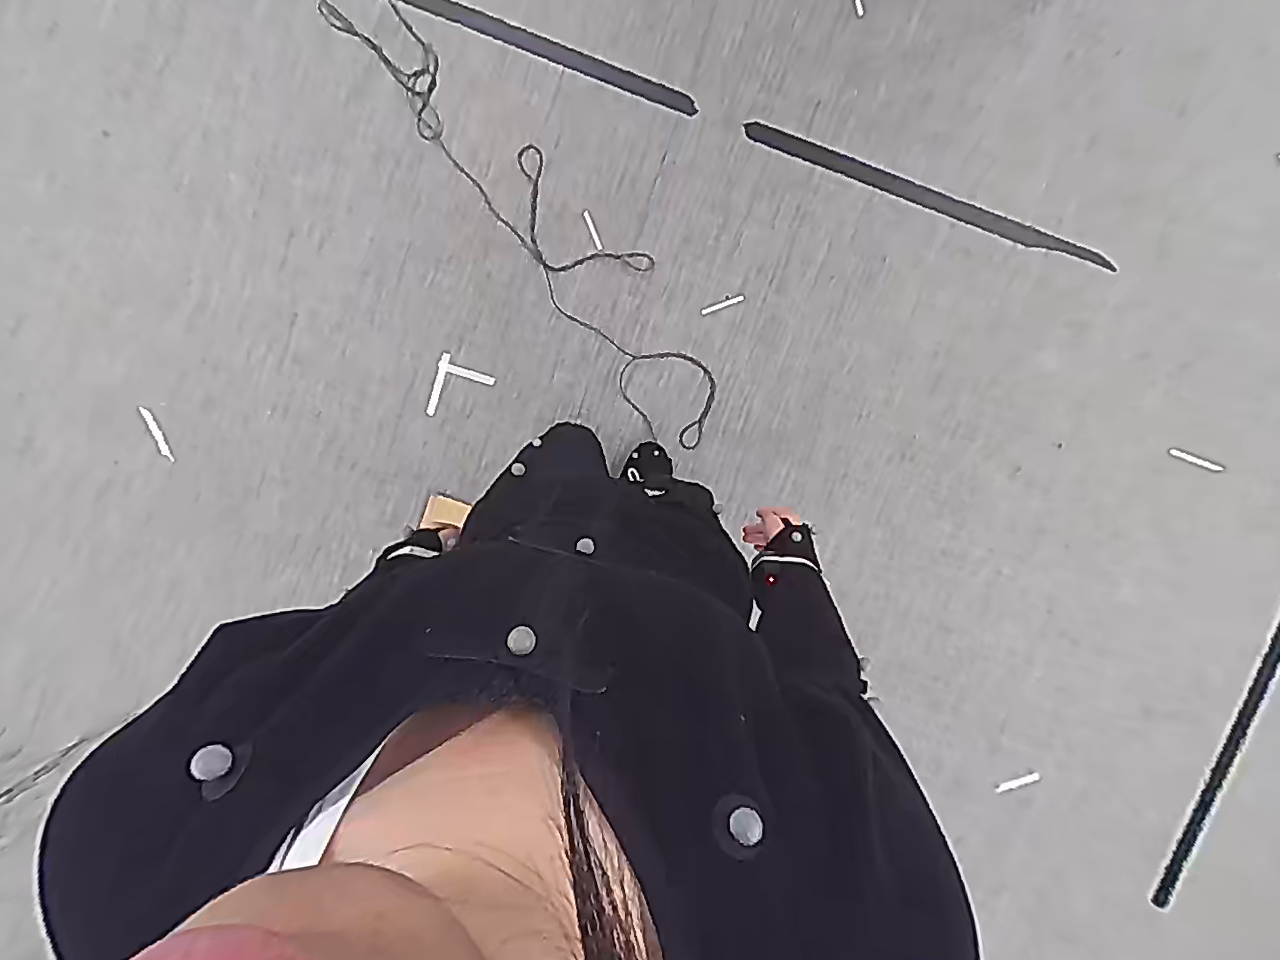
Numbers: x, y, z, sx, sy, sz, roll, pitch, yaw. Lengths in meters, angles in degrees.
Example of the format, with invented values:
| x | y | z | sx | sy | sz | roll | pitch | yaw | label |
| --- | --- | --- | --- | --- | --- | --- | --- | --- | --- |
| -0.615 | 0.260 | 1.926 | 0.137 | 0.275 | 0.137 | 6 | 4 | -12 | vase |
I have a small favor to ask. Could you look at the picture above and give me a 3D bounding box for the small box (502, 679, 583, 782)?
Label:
| x | y | z | sx | sy | sz | roll | pitch | yaw | label |
| --- | --- | --- | --- | --- | --- | --- | --- | --- | --- |
| -0.251 | 0.656 | 1.436 | 0.168 | 0.176 | 0.179 | 13 | 94 | -1 | small box |
